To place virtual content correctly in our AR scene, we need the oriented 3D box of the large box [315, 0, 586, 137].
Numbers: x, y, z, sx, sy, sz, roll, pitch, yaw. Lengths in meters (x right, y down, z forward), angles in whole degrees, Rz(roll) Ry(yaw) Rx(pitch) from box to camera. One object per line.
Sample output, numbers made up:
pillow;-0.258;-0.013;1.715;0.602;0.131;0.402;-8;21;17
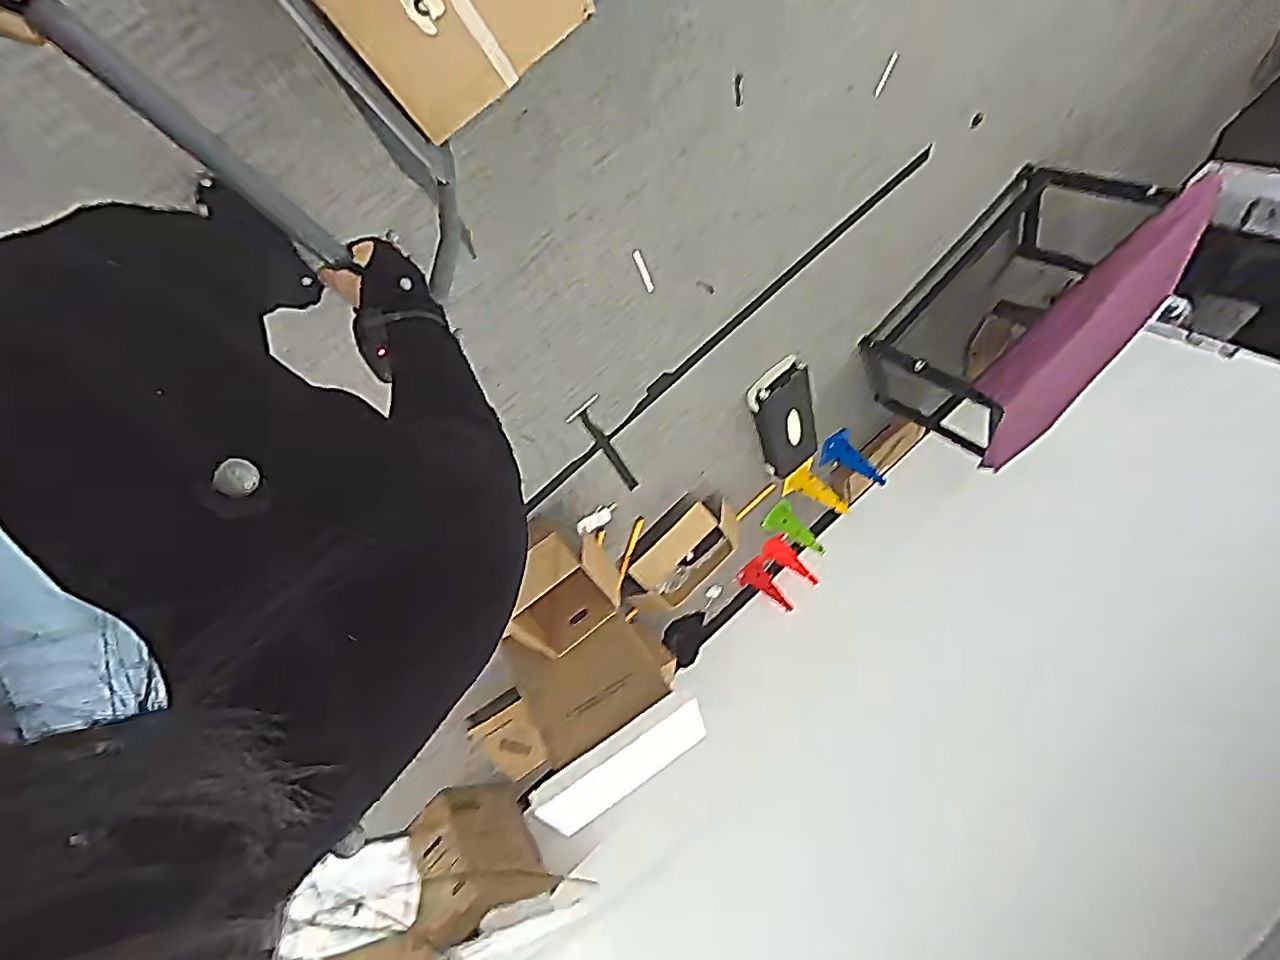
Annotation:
large box;-0.342;-0.812;0.756;0.320;0.320;0.408;-30;144;12
